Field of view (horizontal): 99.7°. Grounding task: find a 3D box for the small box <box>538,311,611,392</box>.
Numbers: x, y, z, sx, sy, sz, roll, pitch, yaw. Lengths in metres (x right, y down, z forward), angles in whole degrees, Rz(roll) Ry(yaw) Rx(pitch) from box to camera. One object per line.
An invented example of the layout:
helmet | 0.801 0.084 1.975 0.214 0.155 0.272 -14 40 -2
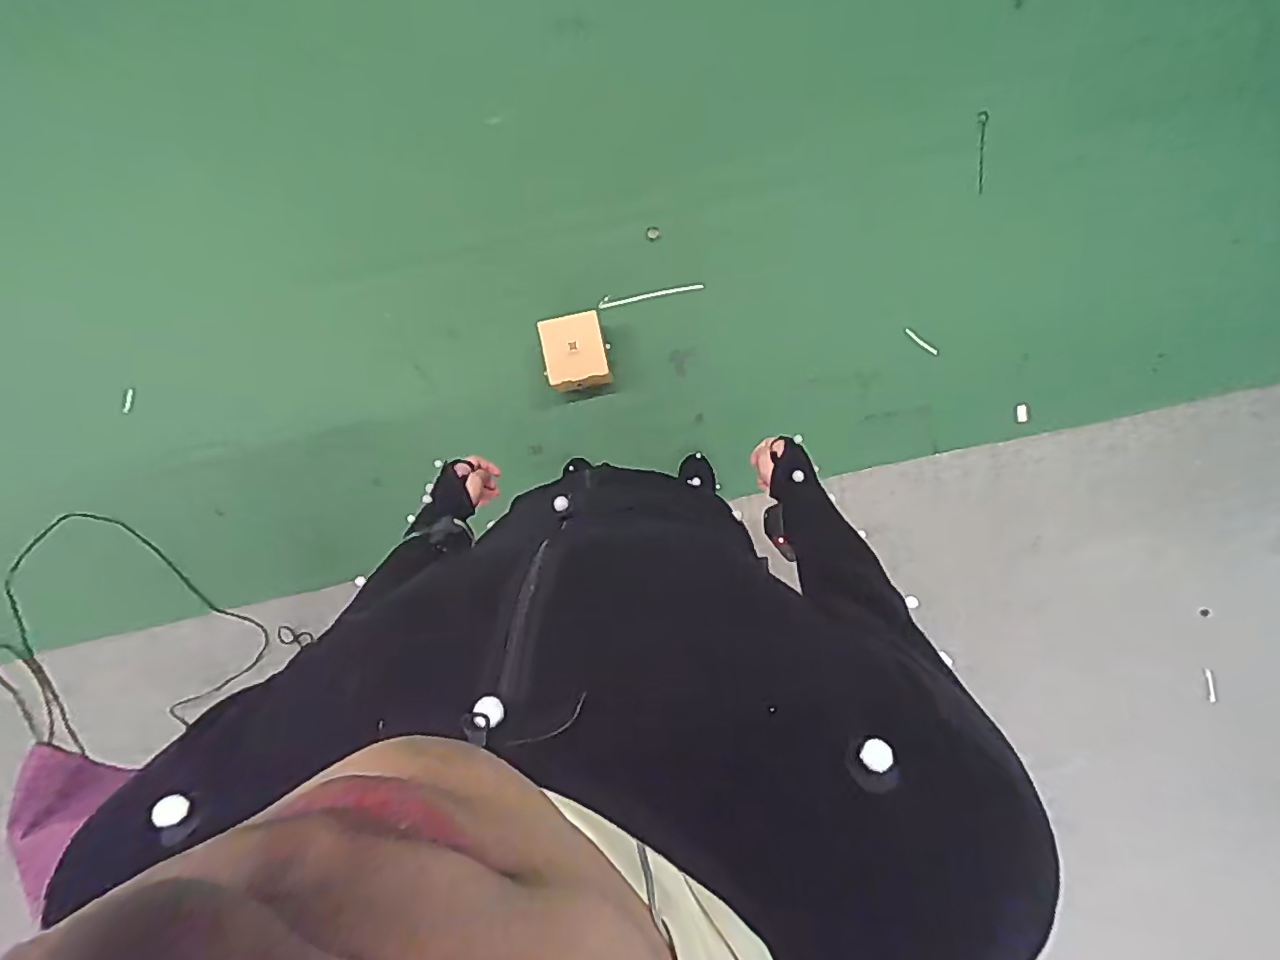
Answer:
small box | -0.181 -0.359 1.537 0.168 0.176 0.179 -12 94 1
